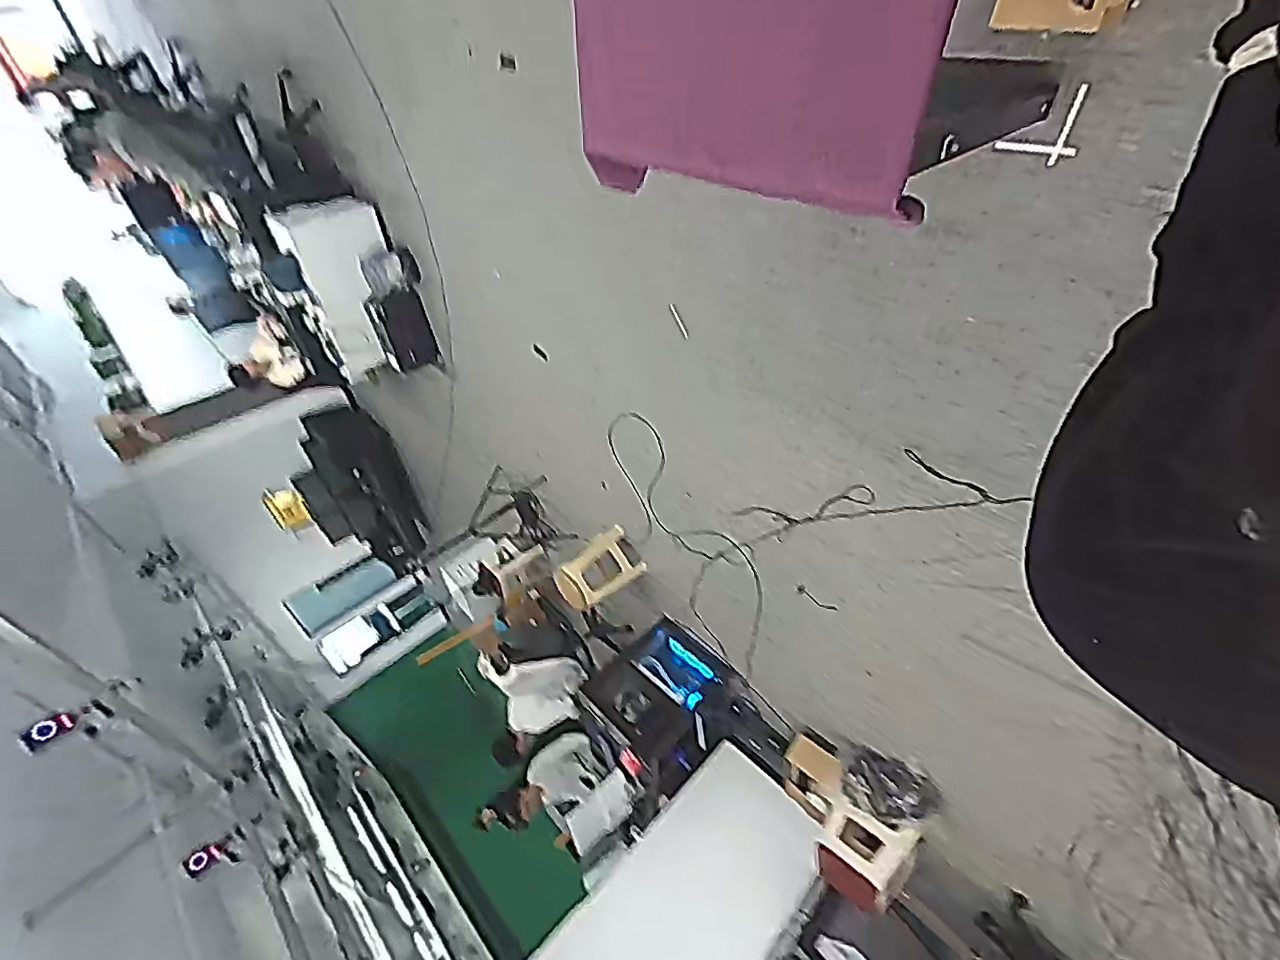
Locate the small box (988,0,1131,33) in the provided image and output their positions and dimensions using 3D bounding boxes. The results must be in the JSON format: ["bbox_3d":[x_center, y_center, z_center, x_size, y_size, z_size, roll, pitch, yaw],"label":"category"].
[{"bbox_3d":[0.741,-0.871,0.910,0.179,0.176,0.168,35,143,32],"label":"small box"}]
